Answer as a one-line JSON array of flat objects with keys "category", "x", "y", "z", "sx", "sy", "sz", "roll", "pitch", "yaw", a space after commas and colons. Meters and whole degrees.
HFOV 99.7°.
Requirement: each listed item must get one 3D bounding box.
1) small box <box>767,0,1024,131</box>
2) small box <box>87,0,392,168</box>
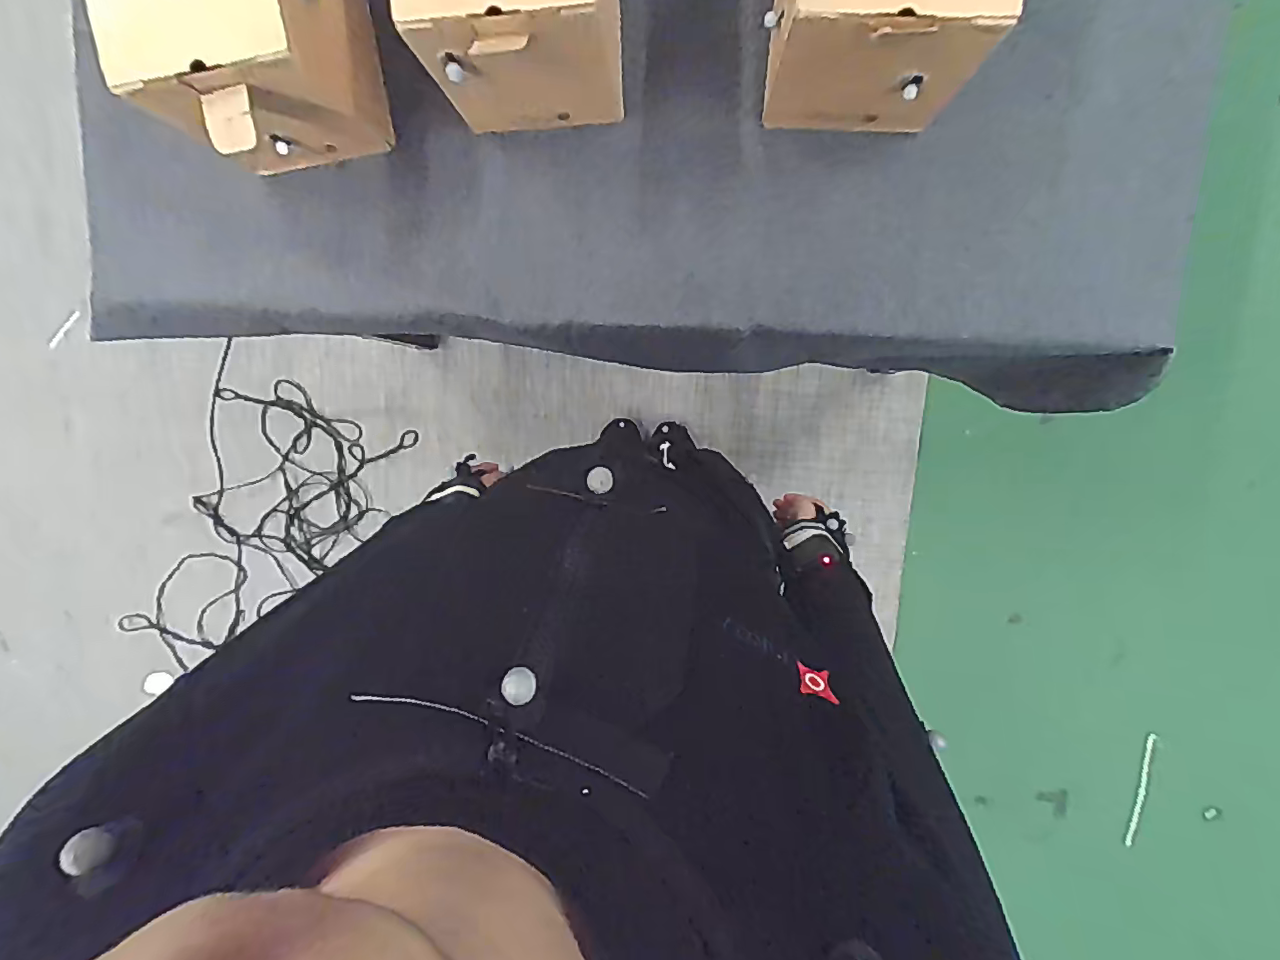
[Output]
[{"category": "small box", "x": 0.211, "y": -0.436, "z": 0.470, "sx": 0.168, "sy": 0.176, "sz": 0.179, "roll": 4, "pitch": 97, "yaw": 2}, {"category": "small box", "x": -0.364, "y": -0.431, "z": 0.509, "sx": 0.168, "sy": 0.176, "sz": 0.179, "roll": -8, "pitch": 98, "yaw": 5}]
